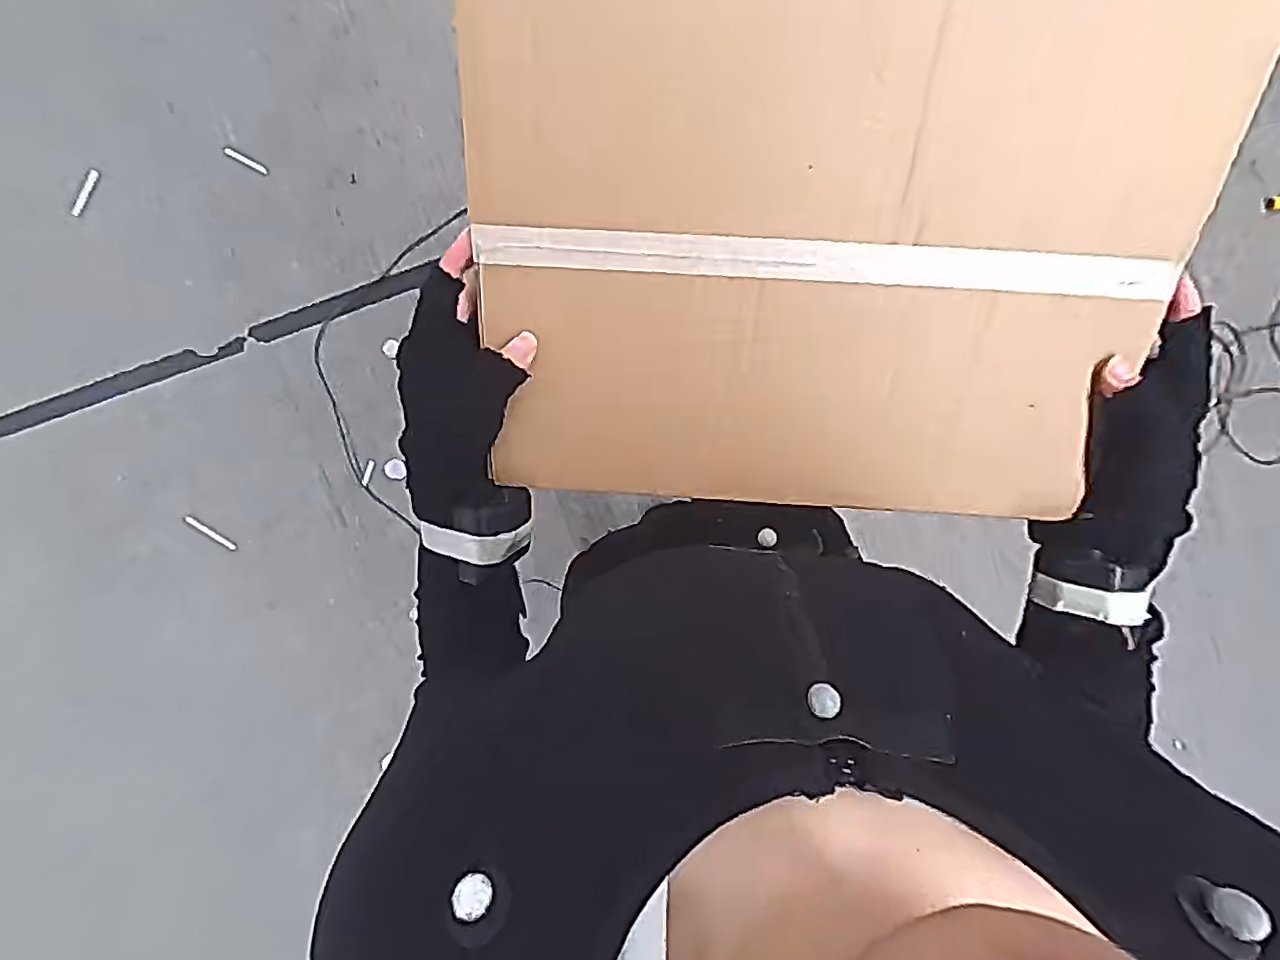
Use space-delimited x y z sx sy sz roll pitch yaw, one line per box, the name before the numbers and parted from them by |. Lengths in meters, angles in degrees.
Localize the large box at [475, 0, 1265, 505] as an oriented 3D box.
large box | 0.110 -0.191 0.459 0.408 0.320 0.320 4 115 0
